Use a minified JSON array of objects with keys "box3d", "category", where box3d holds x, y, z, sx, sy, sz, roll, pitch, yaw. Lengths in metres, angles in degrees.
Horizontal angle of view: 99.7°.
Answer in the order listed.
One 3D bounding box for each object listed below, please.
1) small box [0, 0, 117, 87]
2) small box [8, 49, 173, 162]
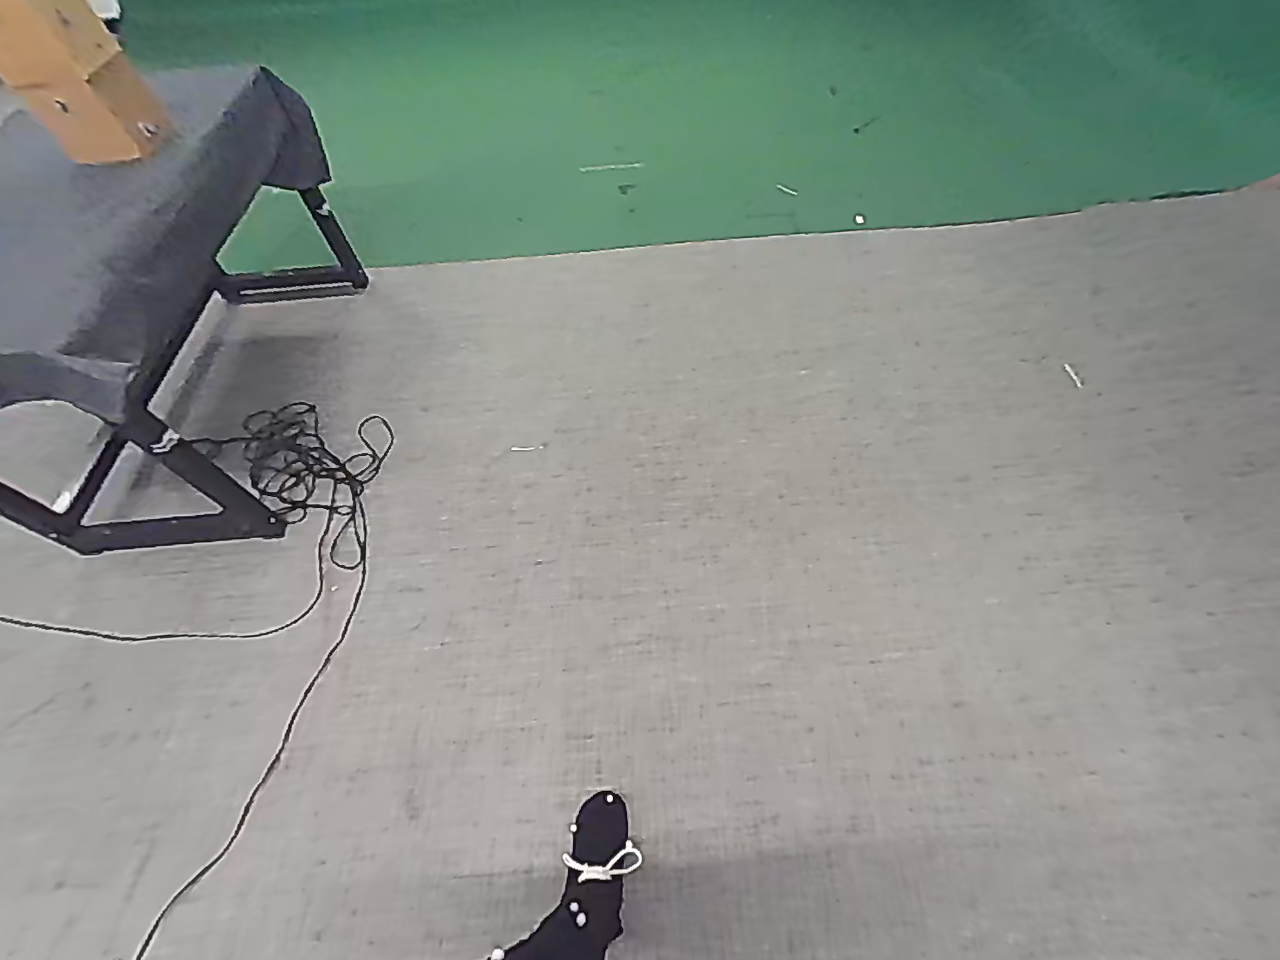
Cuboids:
[{"box3d":[-1.268,-0.954,1.124,0.179,0.176,0.168,-6,58,1],"category":"small box"},{"box3d":[-1.267,-0.869,1.263,0.179,0.176,0.168,-4,58,0],"category":"small box"}]
